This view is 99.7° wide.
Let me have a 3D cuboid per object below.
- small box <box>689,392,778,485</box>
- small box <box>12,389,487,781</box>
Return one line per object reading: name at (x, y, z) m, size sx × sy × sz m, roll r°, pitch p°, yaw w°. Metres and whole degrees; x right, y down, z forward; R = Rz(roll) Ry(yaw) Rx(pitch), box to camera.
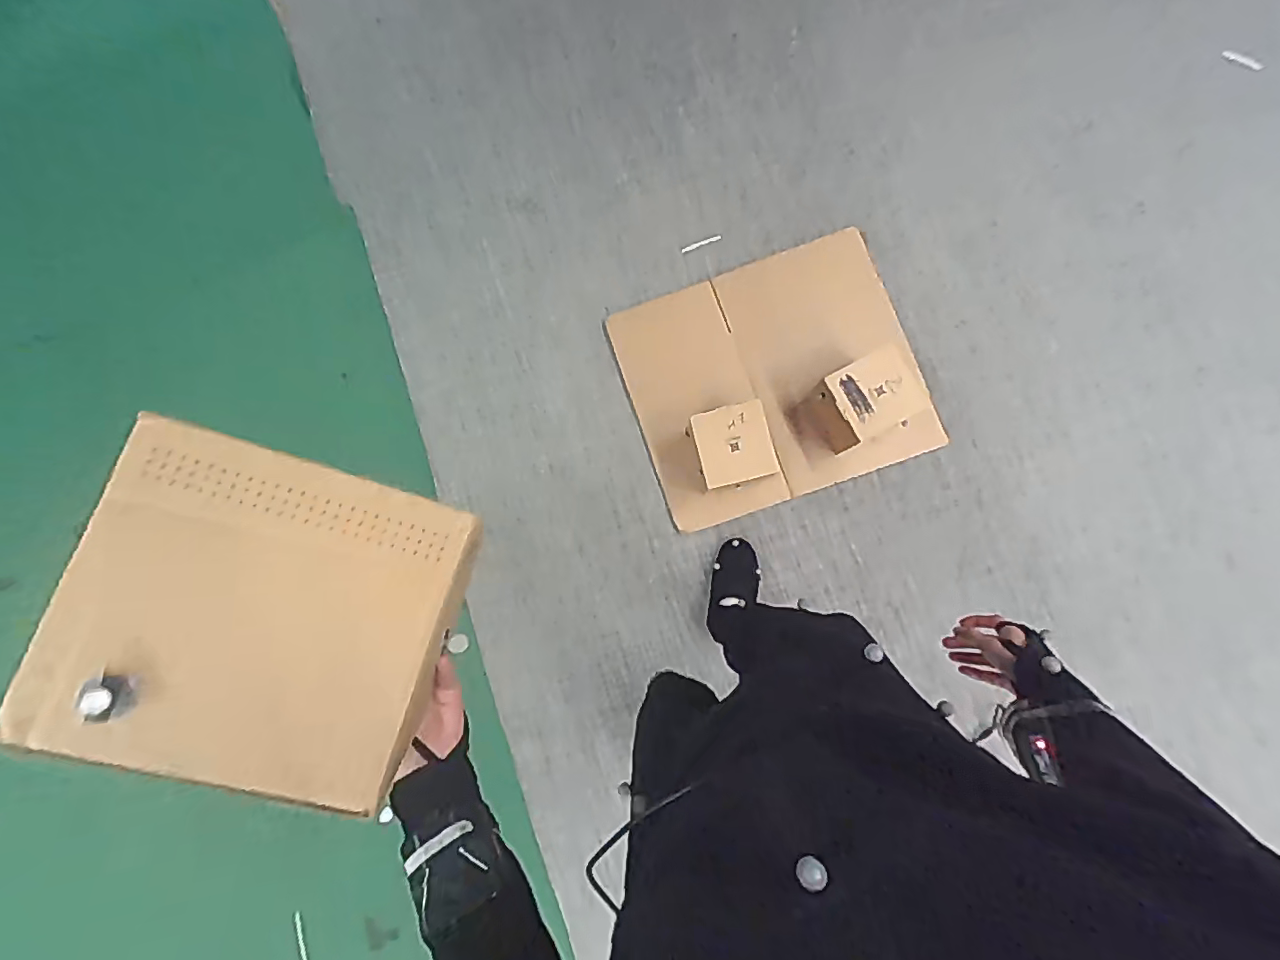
small box at (0.214, -0.089, 1.277) m, size 0.168 × 0.176 × 0.179 m, roll -14°, pitch 83°, yaw 3°
small box at (-0.208, 0.059, 0.355) m, size 0.179 × 0.168 × 0.176 m, roll 20°, pitch 79°, yaw -11°
